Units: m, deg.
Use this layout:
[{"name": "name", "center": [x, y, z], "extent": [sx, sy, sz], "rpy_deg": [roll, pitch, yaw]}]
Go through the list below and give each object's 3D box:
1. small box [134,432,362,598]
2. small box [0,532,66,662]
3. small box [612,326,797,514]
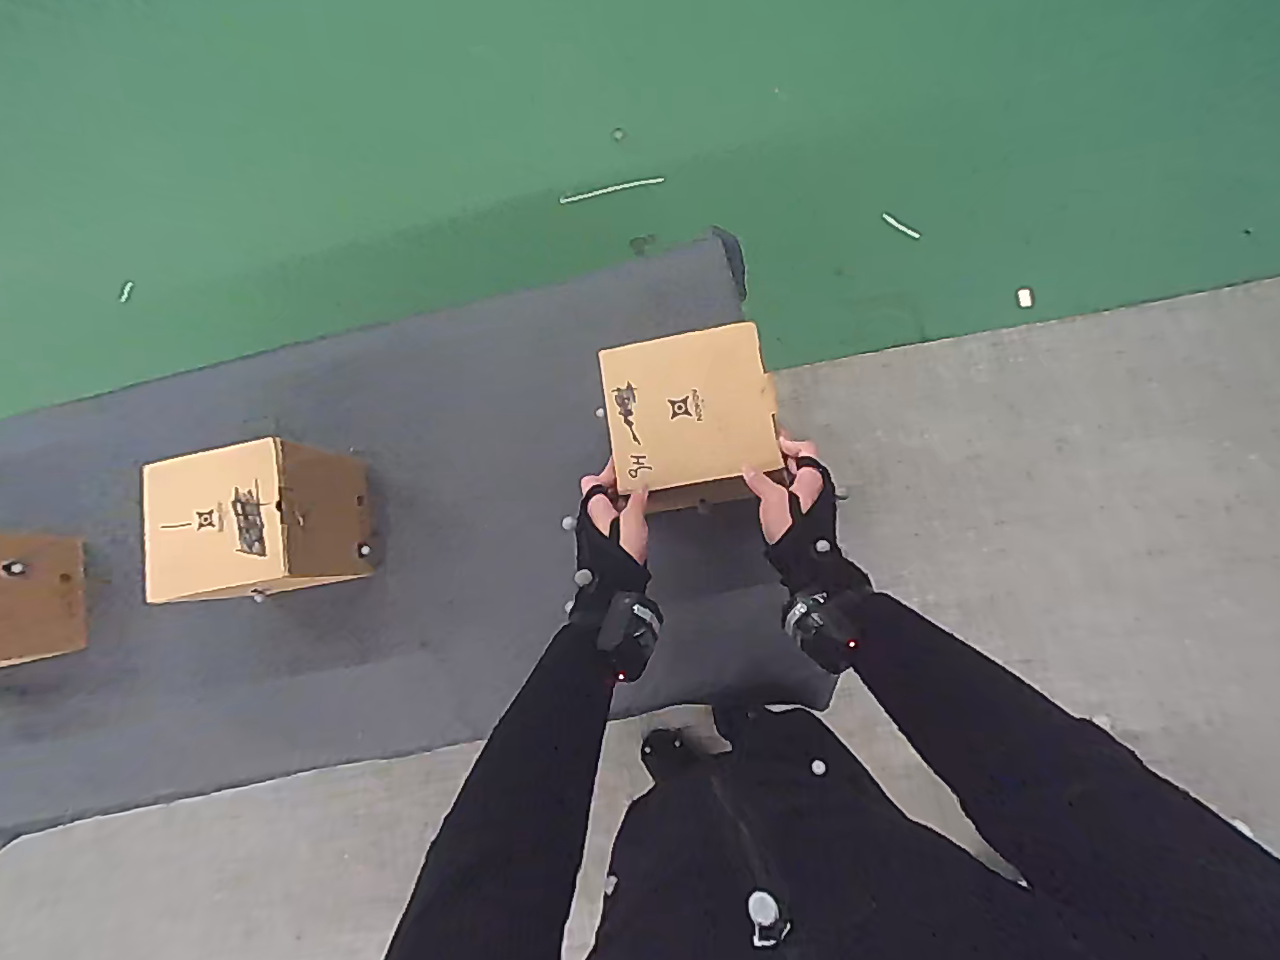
[{"name": "small box", "center": [-0.472, 0.050, 0.678], "extent": [0.179, 0.176, 0.168], "rpy_deg": [-10, 79, 4]}, {"name": "small box", "center": [-0.910, 0.160, 0.701], "extent": [0.179, 0.176, 0.168], "rpy_deg": [-12, 78, 4]}, {"name": "small box", "center": [0.069, -0.059, 0.641], "extent": [0.179, 0.176, 0.168], "rpy_deg": [-8, 77, 3]}]
